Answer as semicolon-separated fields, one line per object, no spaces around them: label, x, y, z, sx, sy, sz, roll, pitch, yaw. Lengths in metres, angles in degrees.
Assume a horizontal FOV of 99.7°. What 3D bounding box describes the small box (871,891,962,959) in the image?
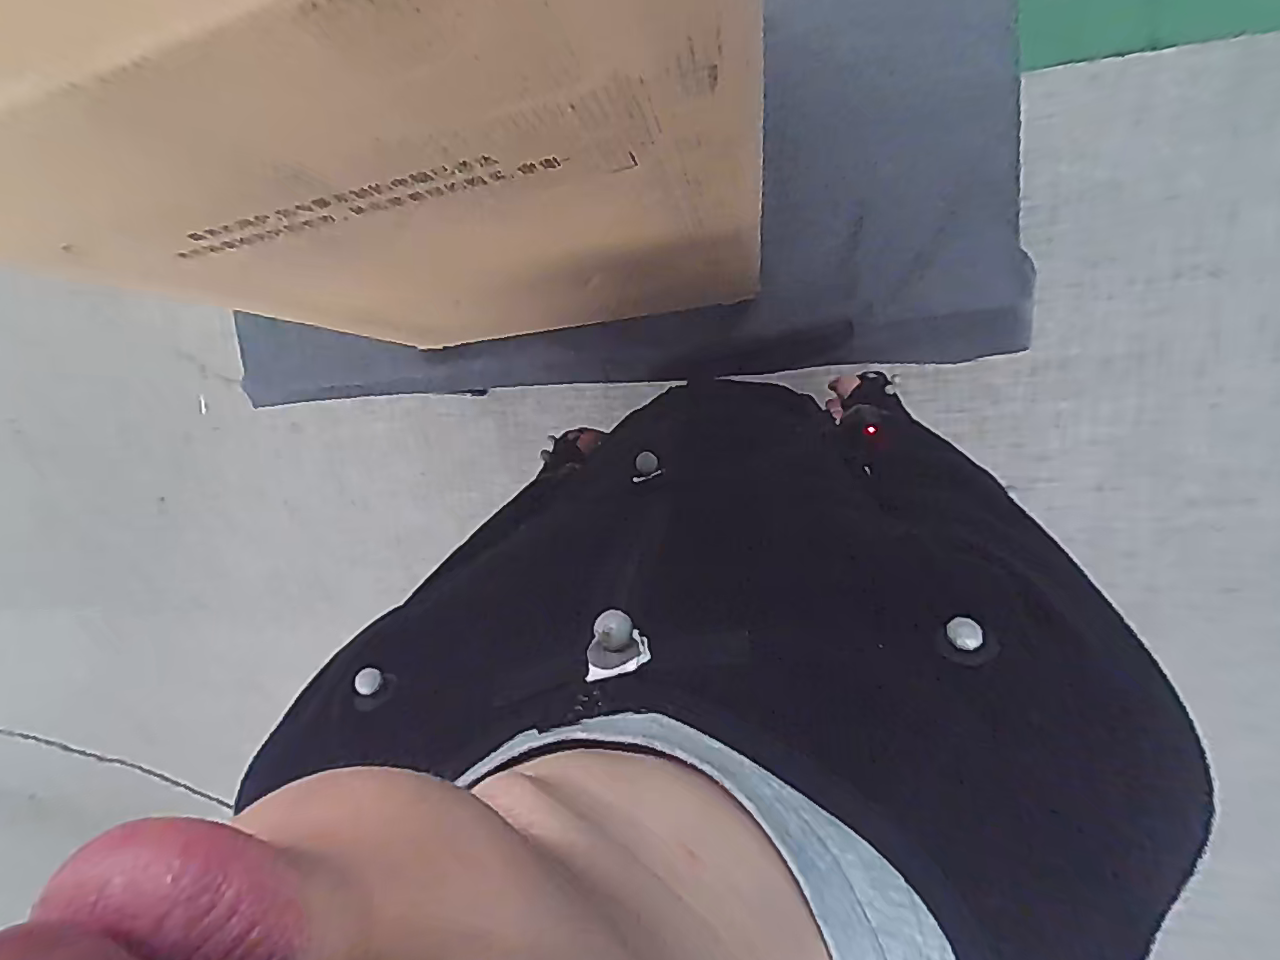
small box;0.765;1.304;1.512;0.179;0.176;0.168;7;98;12
